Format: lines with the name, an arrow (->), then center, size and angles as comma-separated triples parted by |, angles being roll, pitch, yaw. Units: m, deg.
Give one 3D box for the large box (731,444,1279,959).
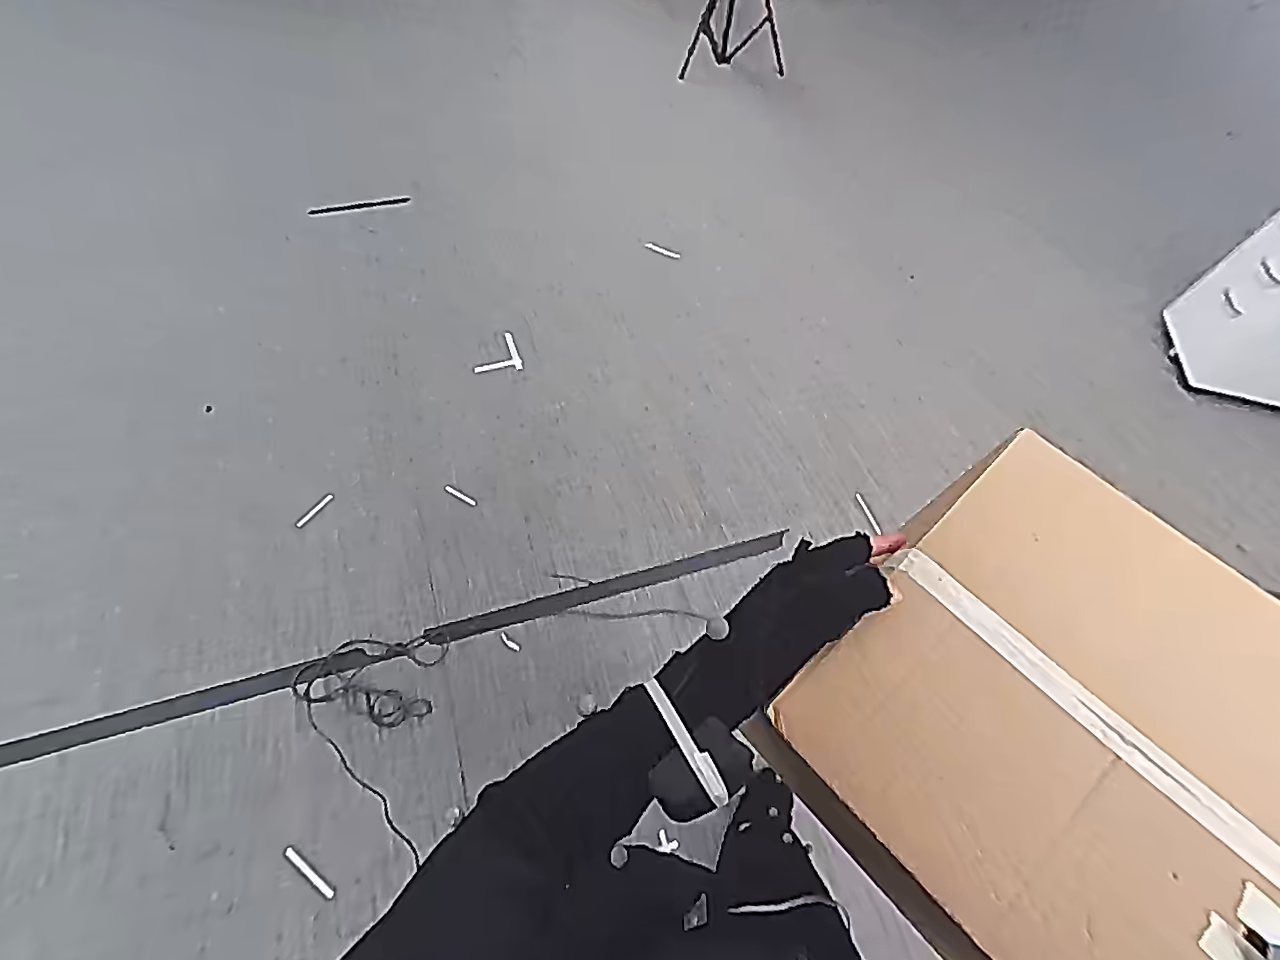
large box -> 0.342, 0.250, 0.487 | 0.320, 0.320, 0.408 | -41, 70, -12
